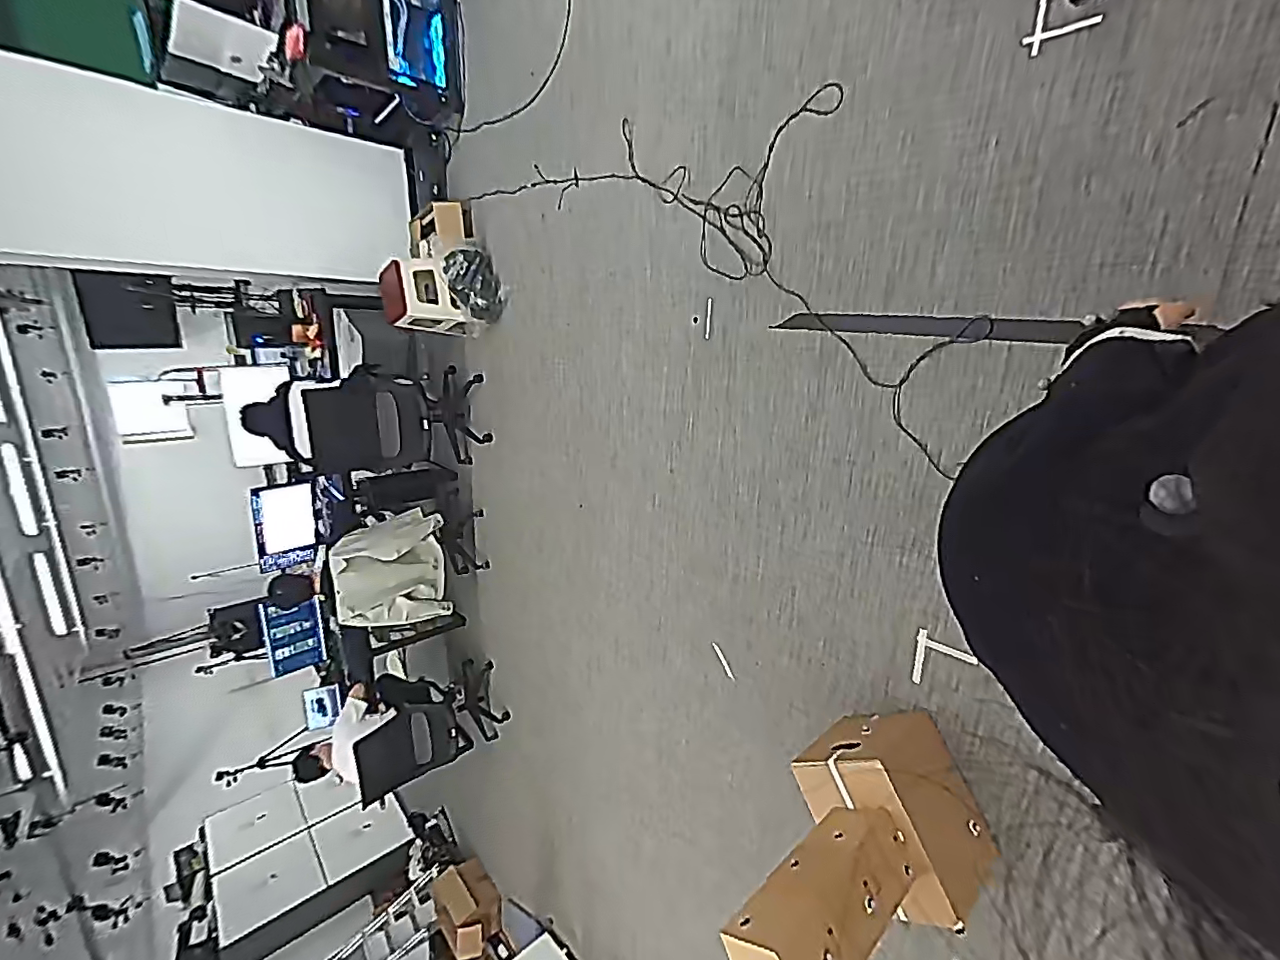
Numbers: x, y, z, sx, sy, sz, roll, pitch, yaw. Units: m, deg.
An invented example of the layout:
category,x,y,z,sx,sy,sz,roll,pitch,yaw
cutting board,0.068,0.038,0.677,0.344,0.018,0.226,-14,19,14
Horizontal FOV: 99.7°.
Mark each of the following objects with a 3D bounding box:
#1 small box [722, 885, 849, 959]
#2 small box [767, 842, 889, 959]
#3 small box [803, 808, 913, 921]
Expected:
category,x,y,z,sx,sy,sz,roll,pitch,yaw
small box,0.313,1.003,1.145,0.179,0.176,0.168,-35,74,48
small box,0.435,0.976,1.252,0.179,0.176,0.168,-34,74,47
small box,0.555,0.955,1.360,0.179,0.176,0.168,-38,70,47
